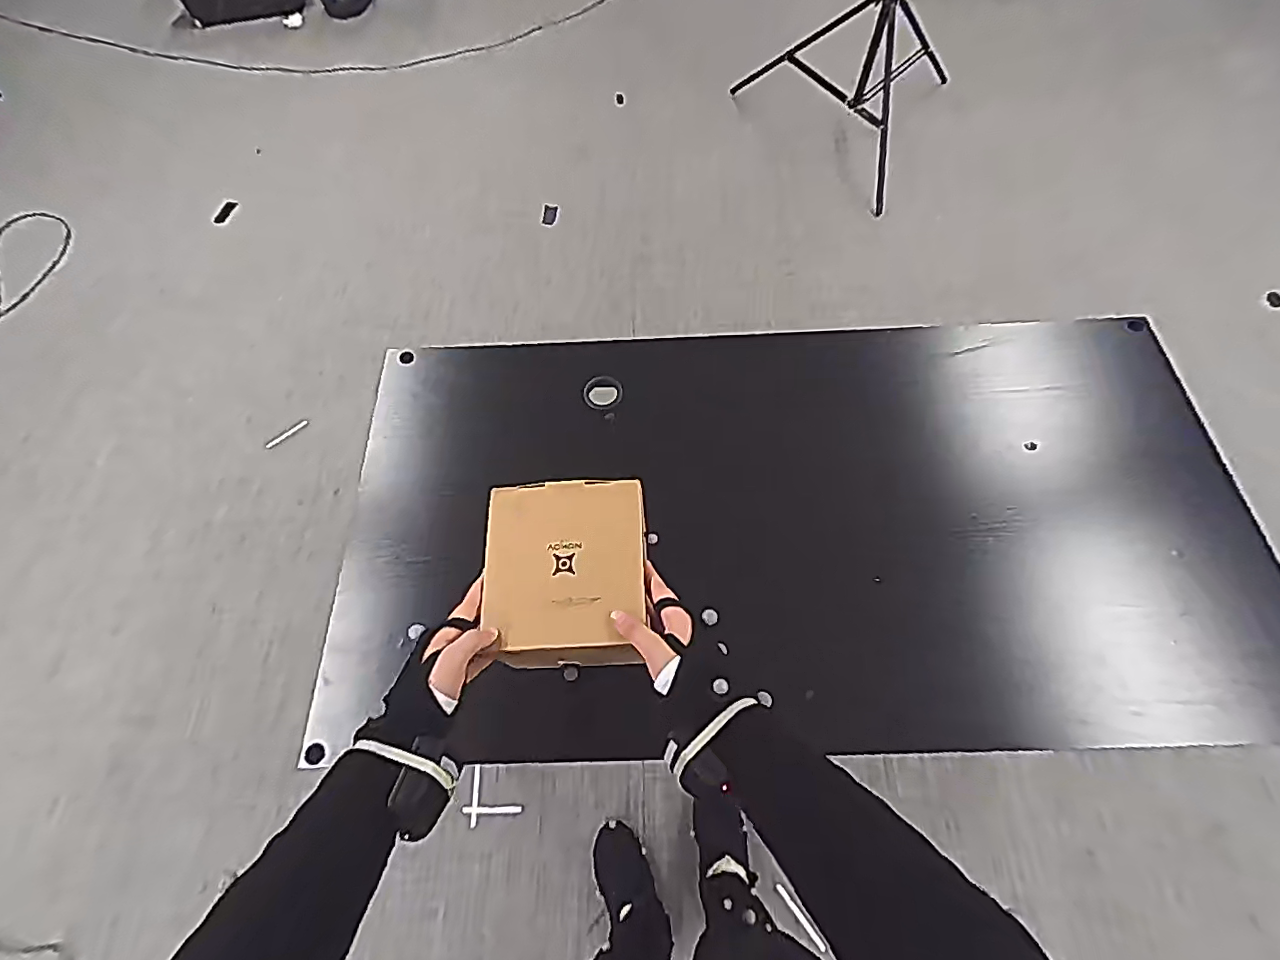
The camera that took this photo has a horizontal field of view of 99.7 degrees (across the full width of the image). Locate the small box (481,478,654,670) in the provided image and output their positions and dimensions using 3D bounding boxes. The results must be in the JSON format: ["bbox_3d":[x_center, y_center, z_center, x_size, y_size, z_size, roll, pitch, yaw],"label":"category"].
[{"bbox_3d":[-0.071,0.114,0.620,0.168,0.176,0.179,-4,66,2],"label":"small box"}]
